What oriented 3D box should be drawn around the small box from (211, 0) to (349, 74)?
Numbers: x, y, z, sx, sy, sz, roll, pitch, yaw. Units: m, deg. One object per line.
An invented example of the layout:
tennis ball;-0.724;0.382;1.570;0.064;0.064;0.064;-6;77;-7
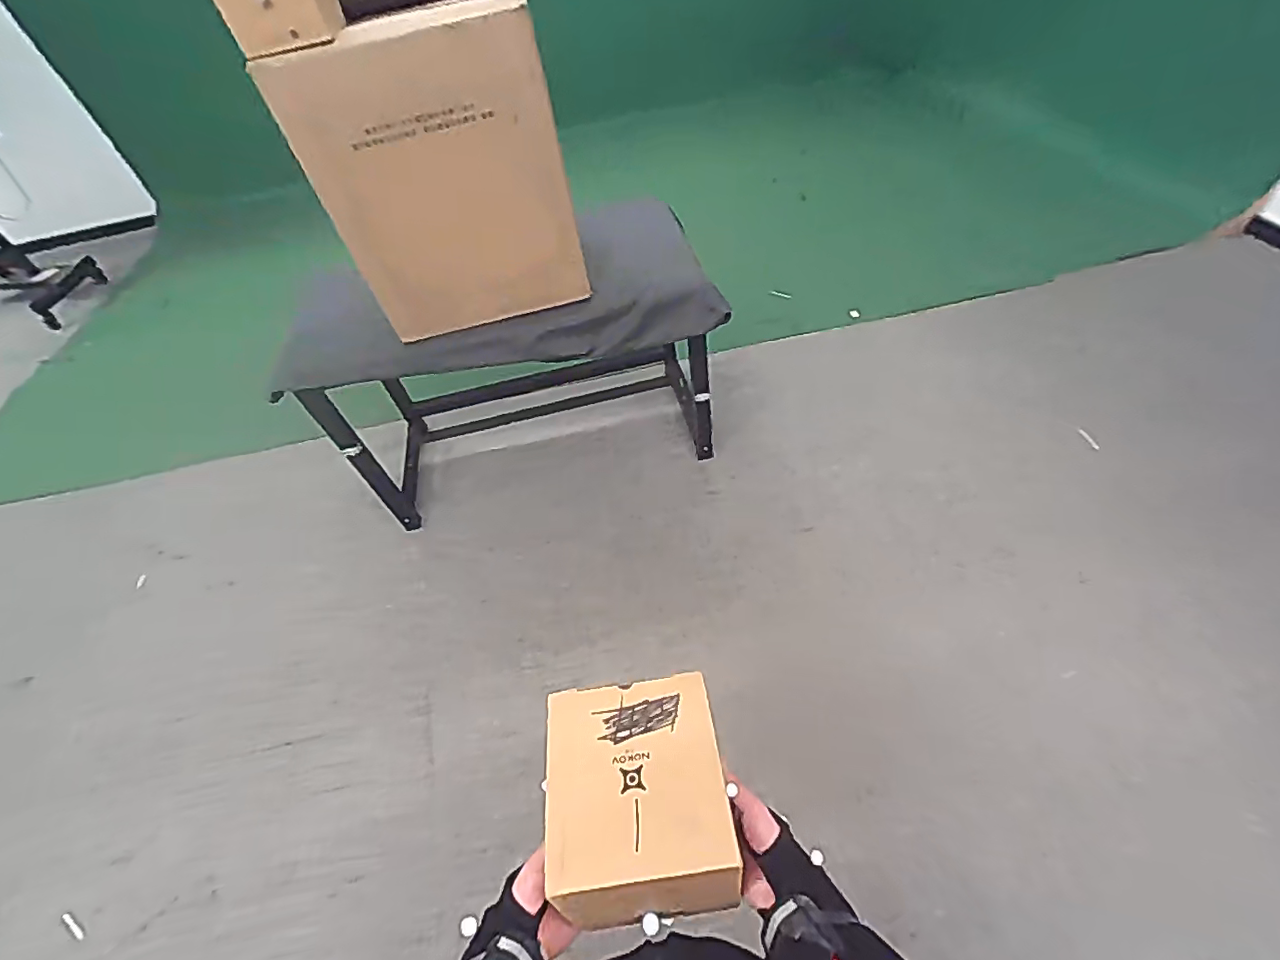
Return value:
small box;-0.681;-0.896;1.021;0.168;0.176;0.179;-14;49;-1
